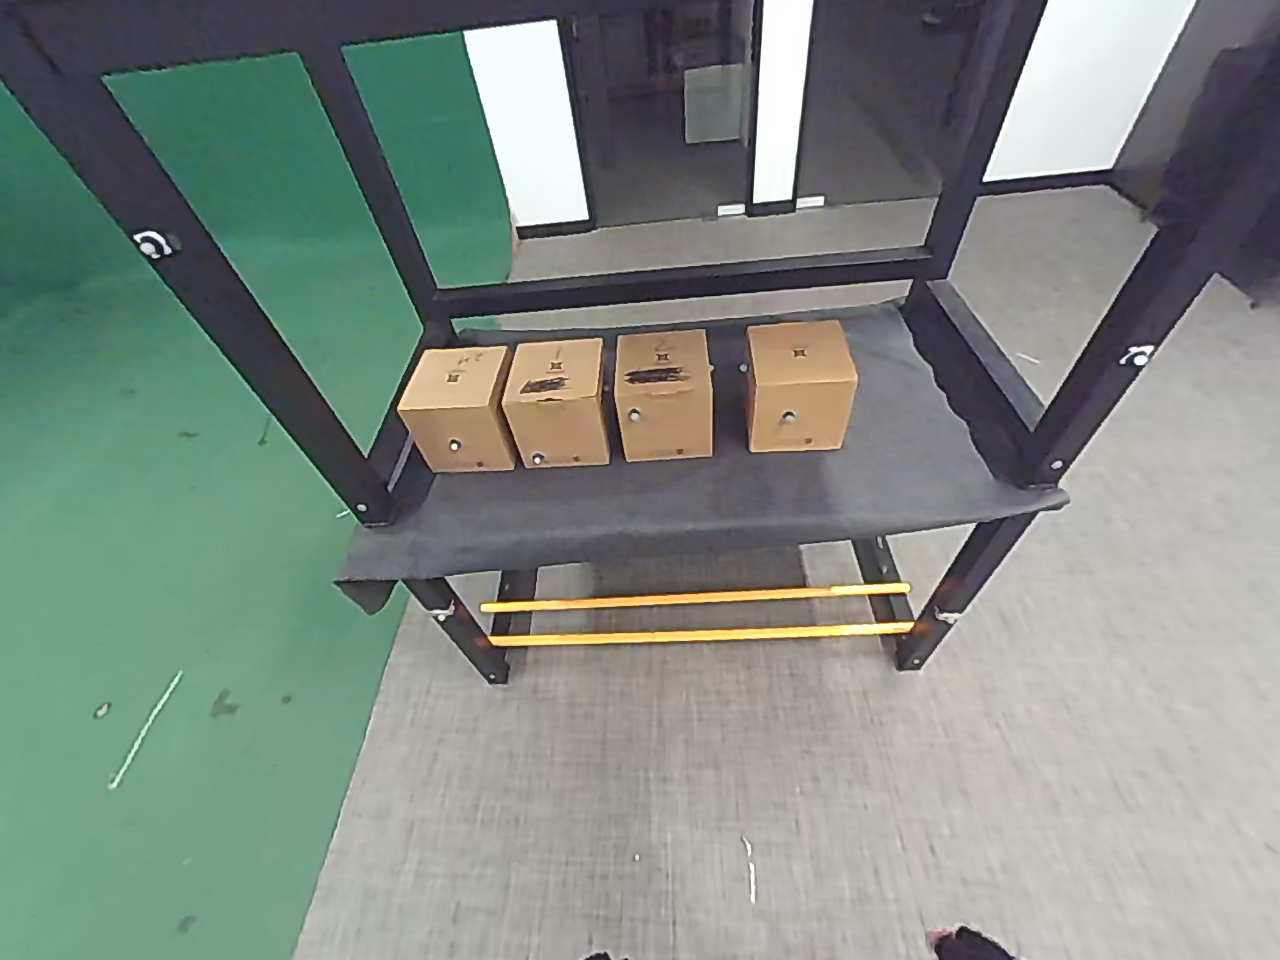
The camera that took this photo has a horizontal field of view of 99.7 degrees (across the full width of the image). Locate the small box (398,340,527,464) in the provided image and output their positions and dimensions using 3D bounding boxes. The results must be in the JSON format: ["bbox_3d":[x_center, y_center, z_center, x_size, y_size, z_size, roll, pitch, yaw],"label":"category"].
[{"bbox_3d":[-0.325,-0.144,1.033,0.168,0.176,0.179,0,49,5],"label":"small box"}]

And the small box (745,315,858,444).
[{"bbox_3d":[0.284,-0.177,0.988,0.168,0.176,0.179,-1,49,5],"label":"small box"}]
